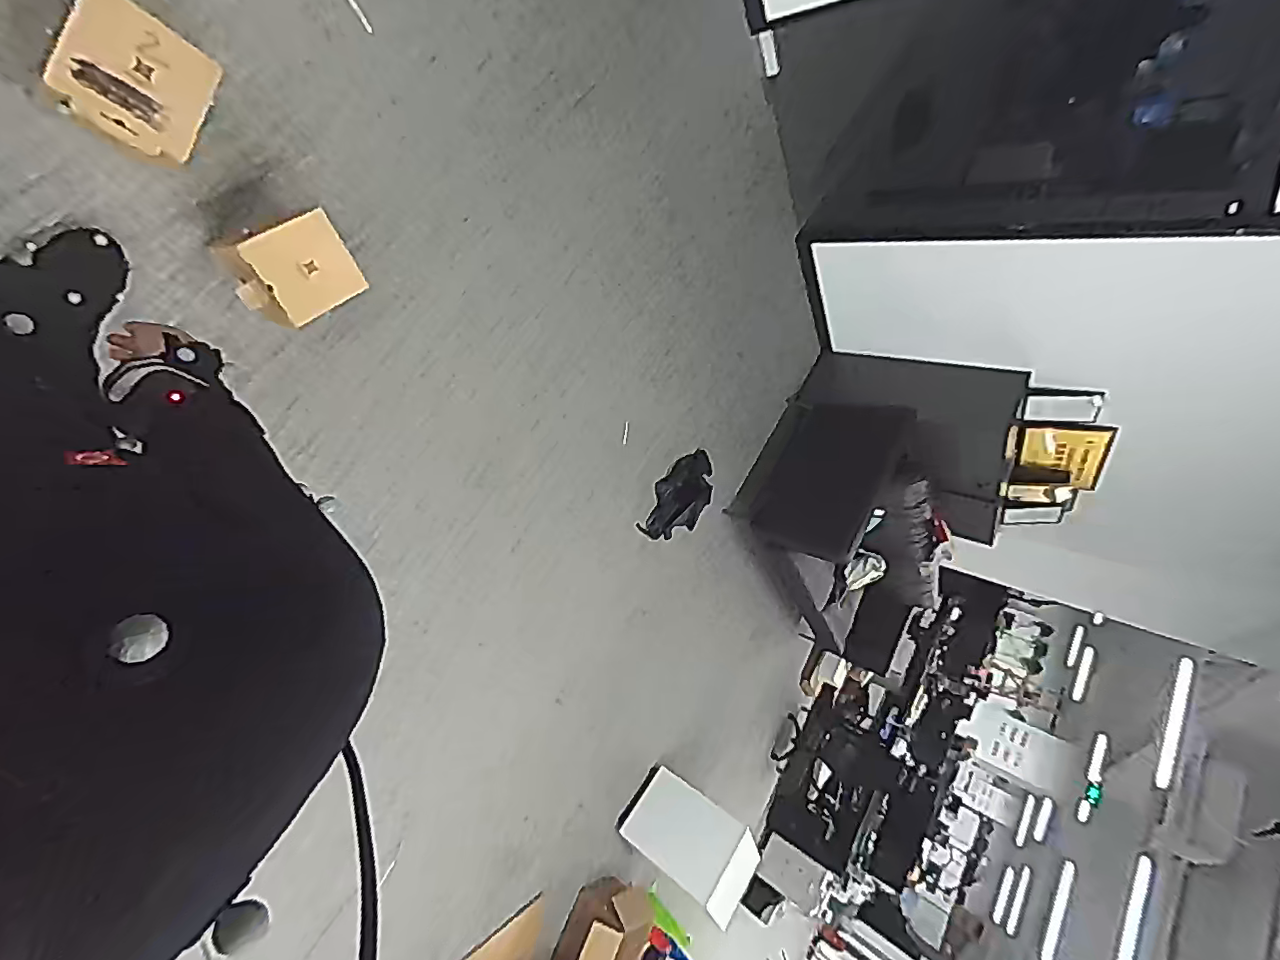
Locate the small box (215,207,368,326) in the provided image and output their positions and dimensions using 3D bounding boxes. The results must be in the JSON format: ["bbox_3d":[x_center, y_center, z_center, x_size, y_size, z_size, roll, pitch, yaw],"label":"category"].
[{"bbox_3d":[-0.703,-0.436,1.093,0.179,0.176,0.168,-47,137,-28],"label":"small box"}]
